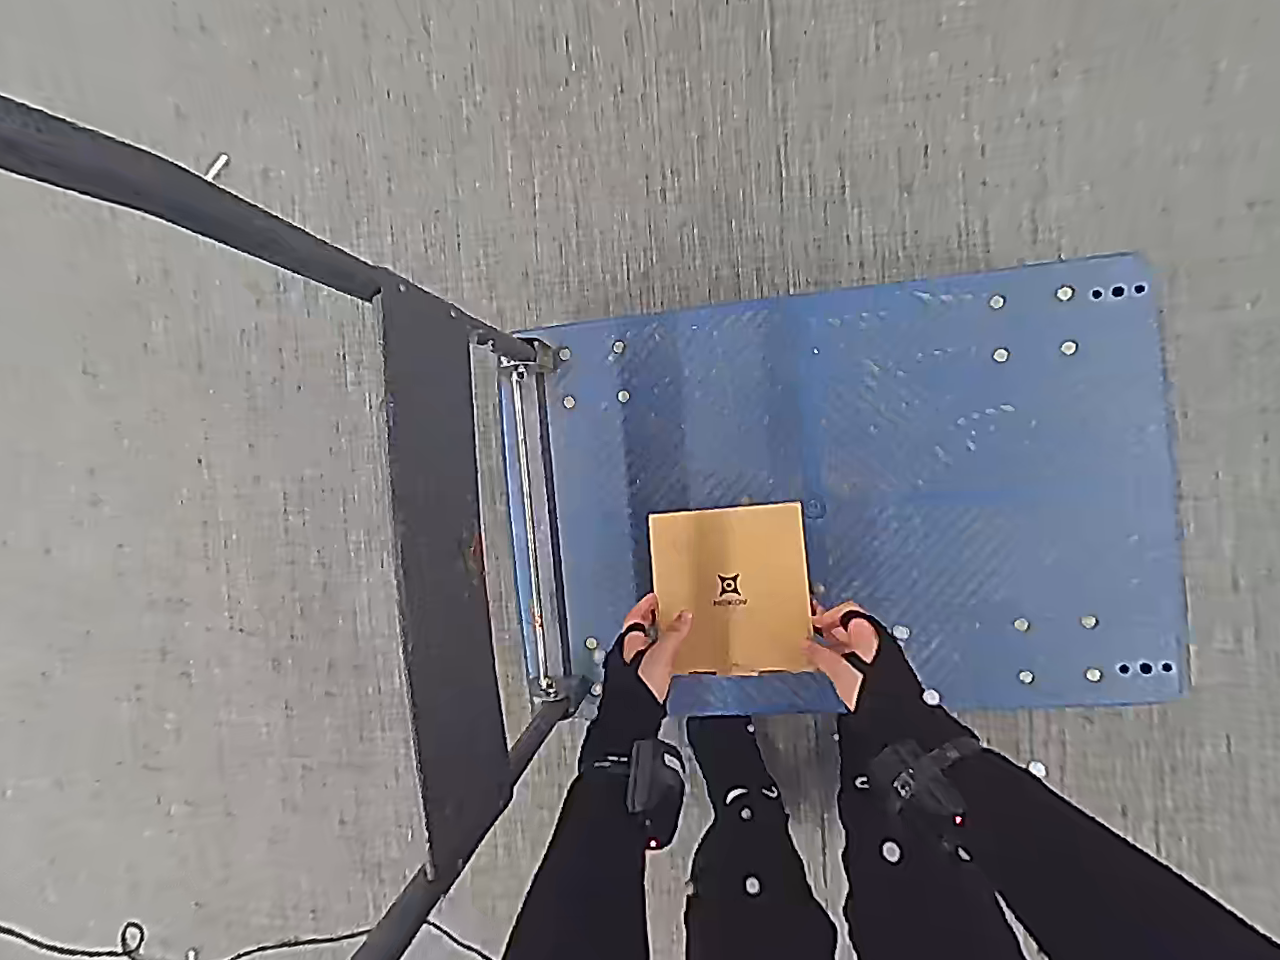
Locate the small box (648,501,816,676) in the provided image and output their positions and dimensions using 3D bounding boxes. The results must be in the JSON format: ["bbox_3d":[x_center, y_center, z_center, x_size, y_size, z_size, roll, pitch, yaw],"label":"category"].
[{"bbox_3d":[0.109,0.124,0.653,0.168,0.176,0.179,-7,84,12],"label":"small box"}]
